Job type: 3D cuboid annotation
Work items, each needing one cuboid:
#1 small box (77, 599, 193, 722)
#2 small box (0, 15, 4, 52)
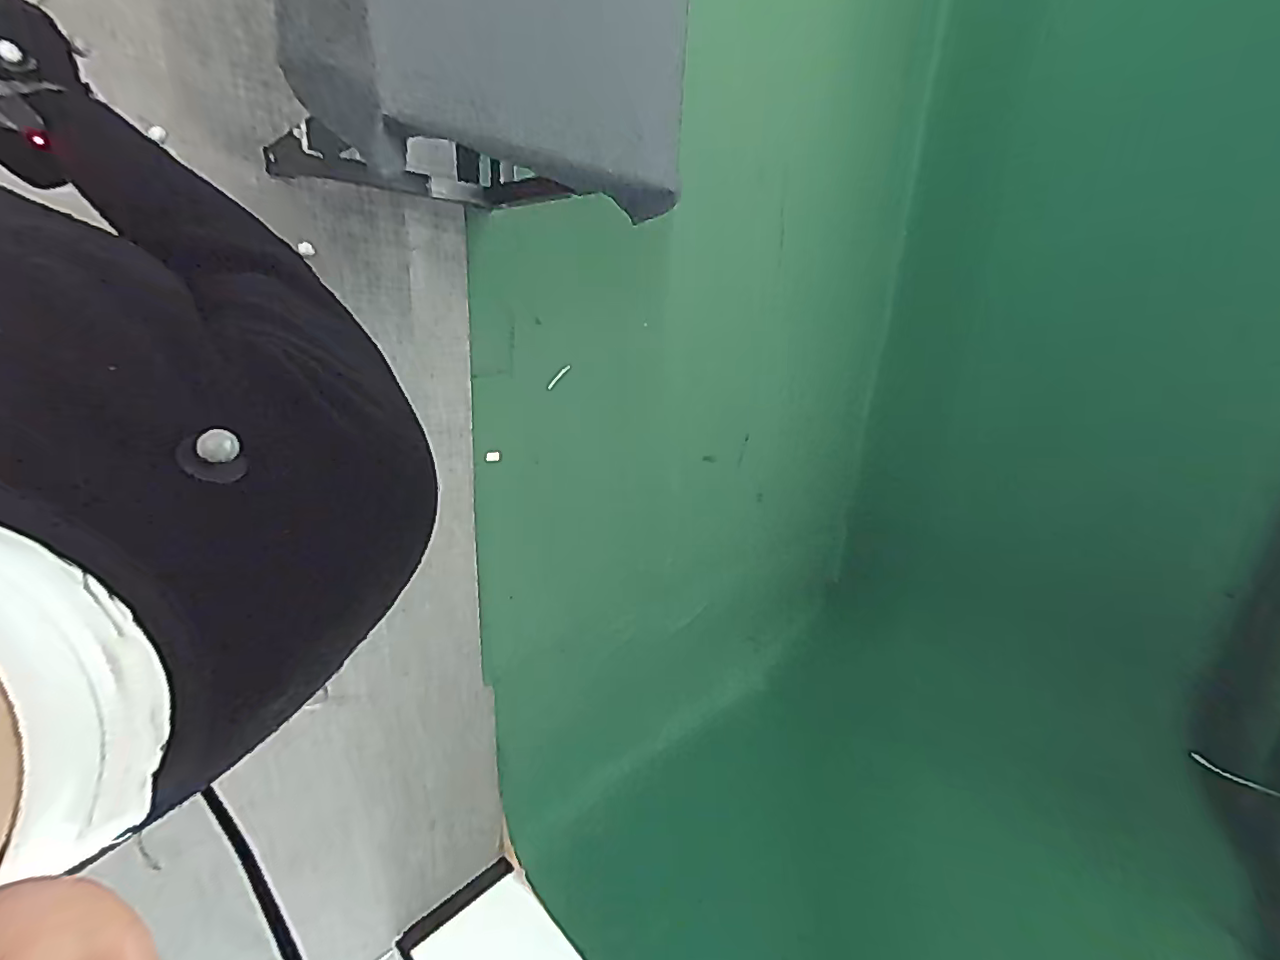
[{"bbox_3d":[-1.139,0.398,1.221,0.168,0.176,0.179,-12,114,-46],"label":"small box"},{"bbox_3d":[-0.635,-0.454,0.410,0.179,0.176,0.168,-12,114,-40],"label":"small box"}]
